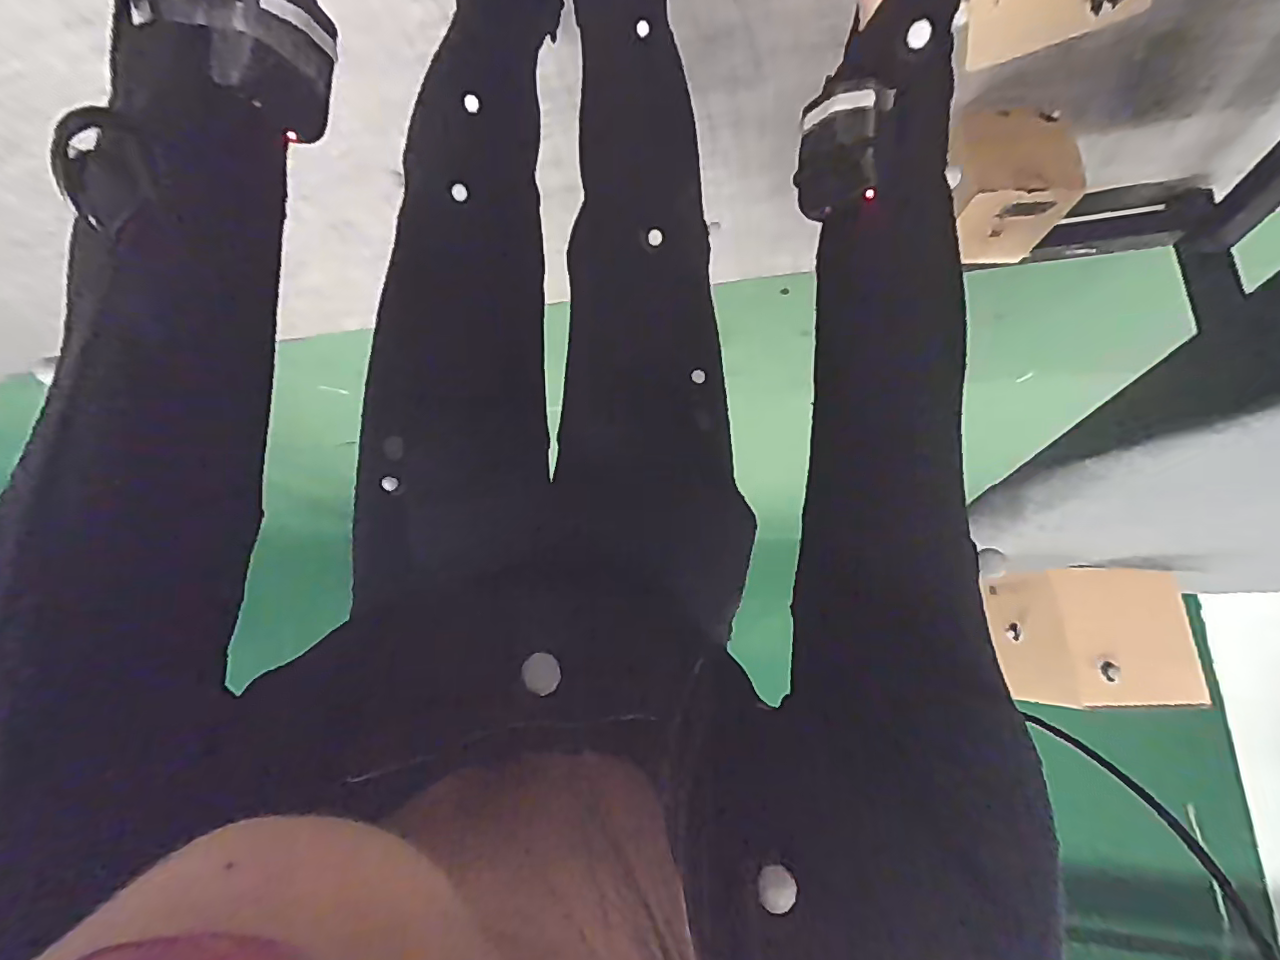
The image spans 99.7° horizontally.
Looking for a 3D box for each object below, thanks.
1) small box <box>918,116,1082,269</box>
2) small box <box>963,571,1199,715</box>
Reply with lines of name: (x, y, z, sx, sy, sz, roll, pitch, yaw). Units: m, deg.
small box: (0.597, -0.488, 0.926, 0.168, 0.176, 0.179, 2, 166, 3)
small box: (0.579, 0.219, 0.738, 0.179, 0.176, 0.168, 1, 164, -6)
